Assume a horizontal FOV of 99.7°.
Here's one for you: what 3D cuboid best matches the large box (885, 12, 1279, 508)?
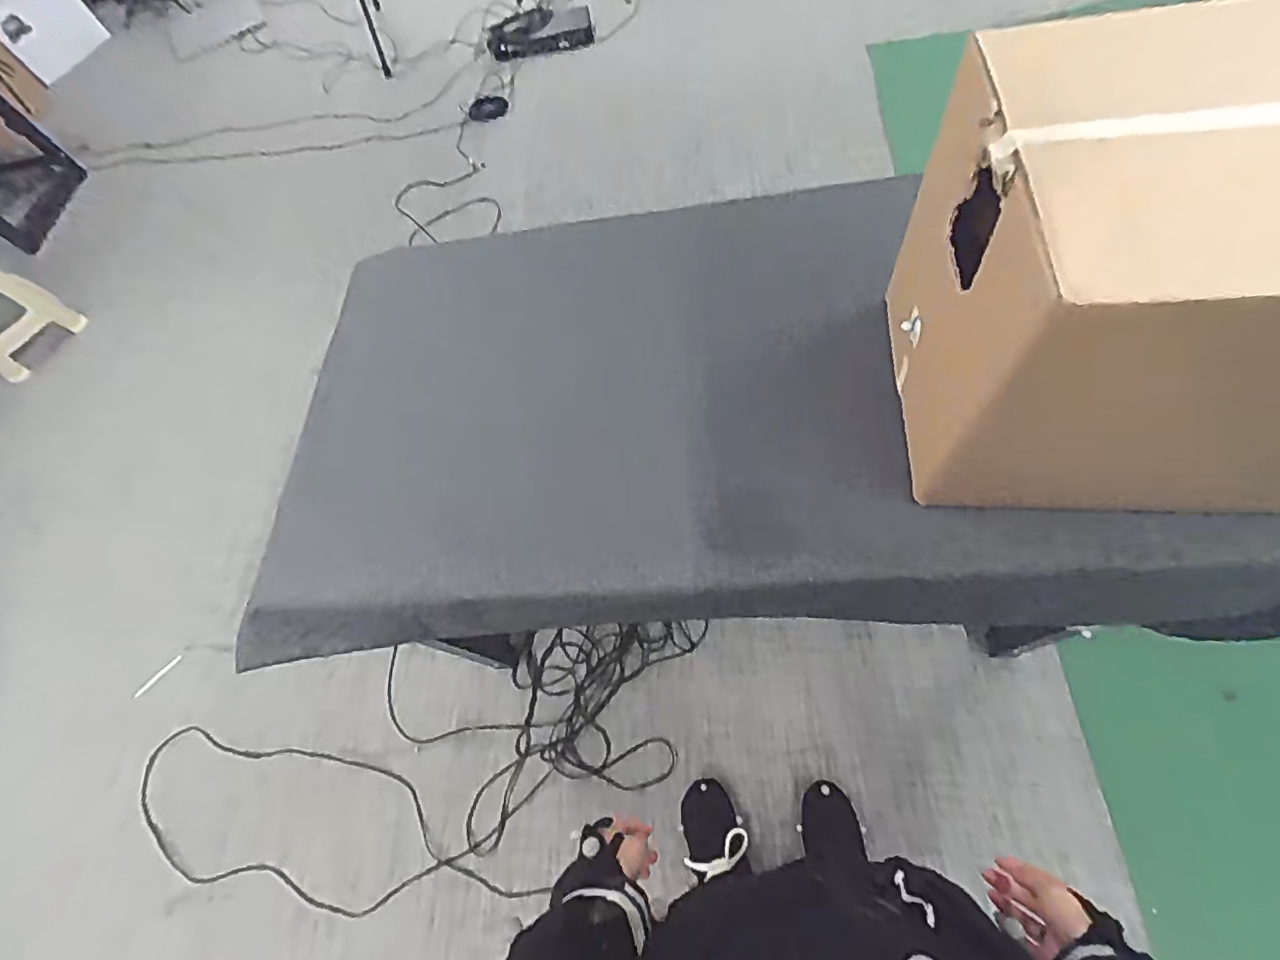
[{"bbox_3d":[0.492,-0.173,0.501,0.408,0.320,0.320,1,64,10],"label":"large box"}]
